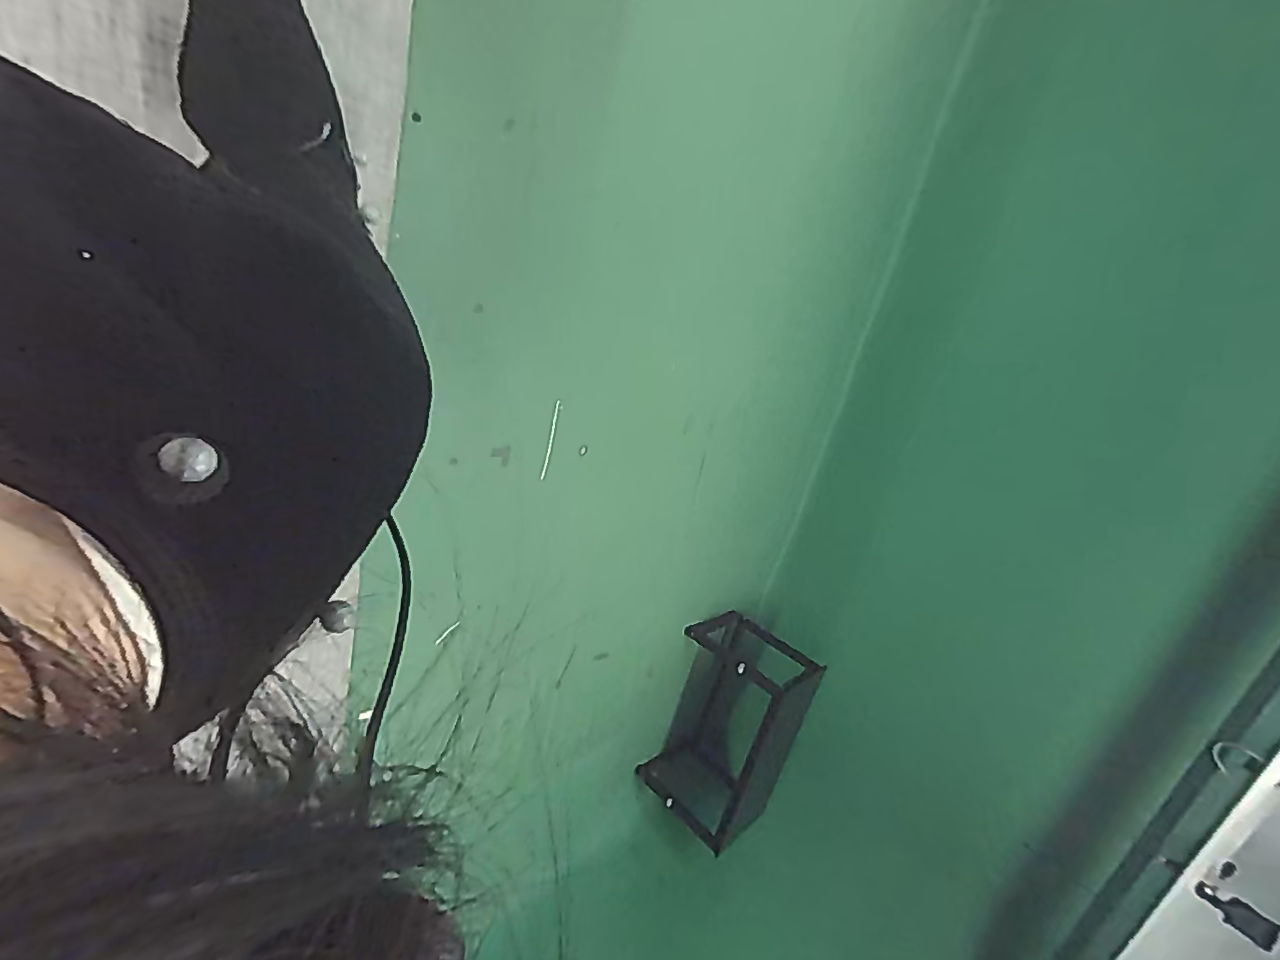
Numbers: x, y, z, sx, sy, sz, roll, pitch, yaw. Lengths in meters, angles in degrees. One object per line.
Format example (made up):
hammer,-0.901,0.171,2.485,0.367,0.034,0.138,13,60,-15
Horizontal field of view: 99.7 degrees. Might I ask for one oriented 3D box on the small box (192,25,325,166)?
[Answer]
small box,-0.753,-0.740,1.061,0.179,0.176,0.168,-1,113,-50
